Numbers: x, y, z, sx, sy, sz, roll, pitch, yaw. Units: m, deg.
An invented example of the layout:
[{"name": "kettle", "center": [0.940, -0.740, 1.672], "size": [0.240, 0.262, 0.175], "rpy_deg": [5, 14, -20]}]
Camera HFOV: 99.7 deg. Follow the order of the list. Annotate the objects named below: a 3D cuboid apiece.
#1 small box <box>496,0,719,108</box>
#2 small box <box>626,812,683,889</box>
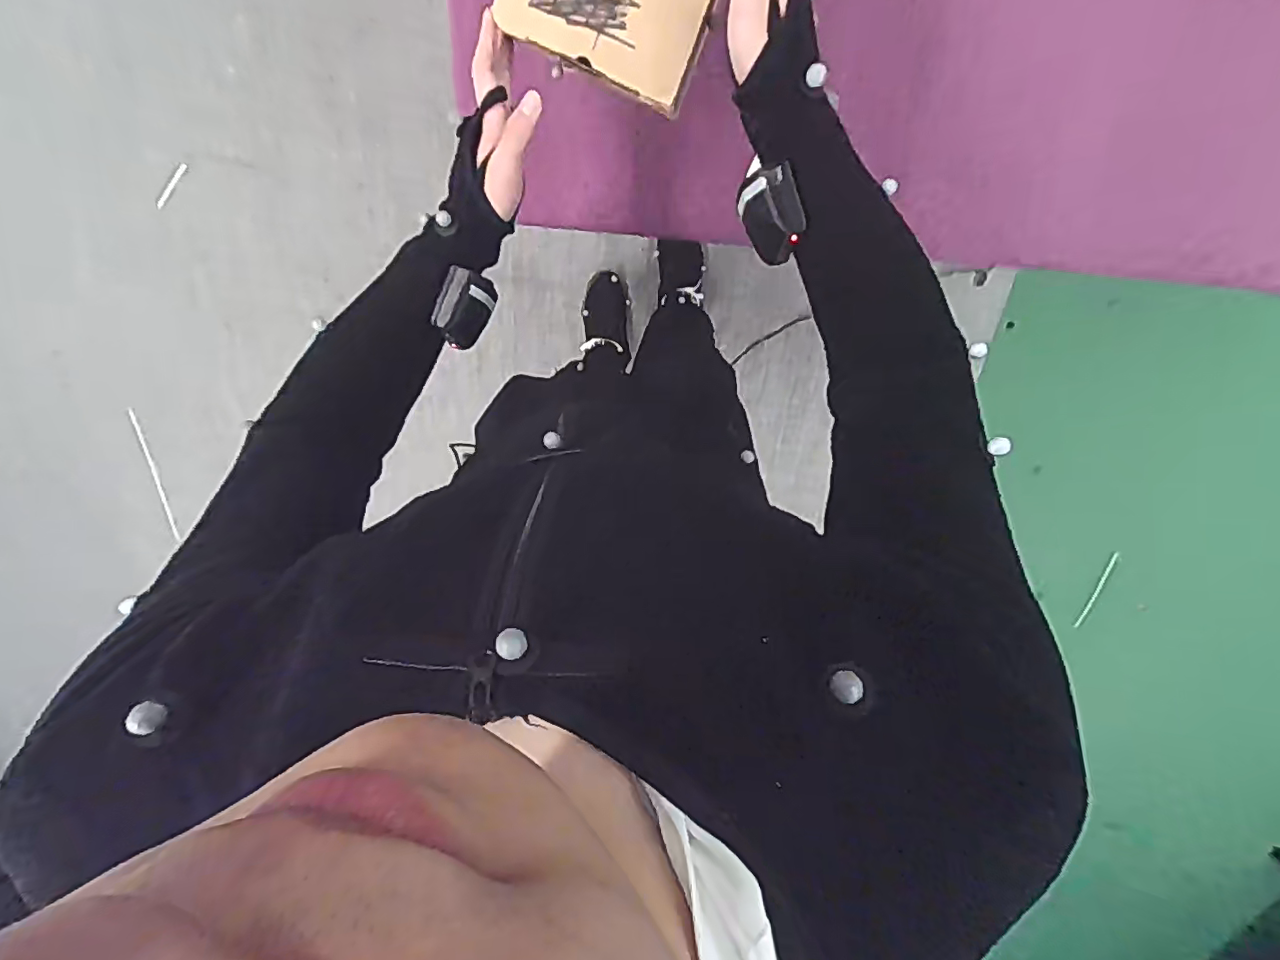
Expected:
[{"name": "small box", "center": [-0.008, -0.463, 0.483], "size": [0.168, 0.176, 0.179], "rpy_deg": [20, 120, -8]}, {"name": "small box", "center": [0.056, 1.390, 2.039], "size": [0.179, 0.176, 0.168], "rpy_deg": [16, 116, -4]}]
